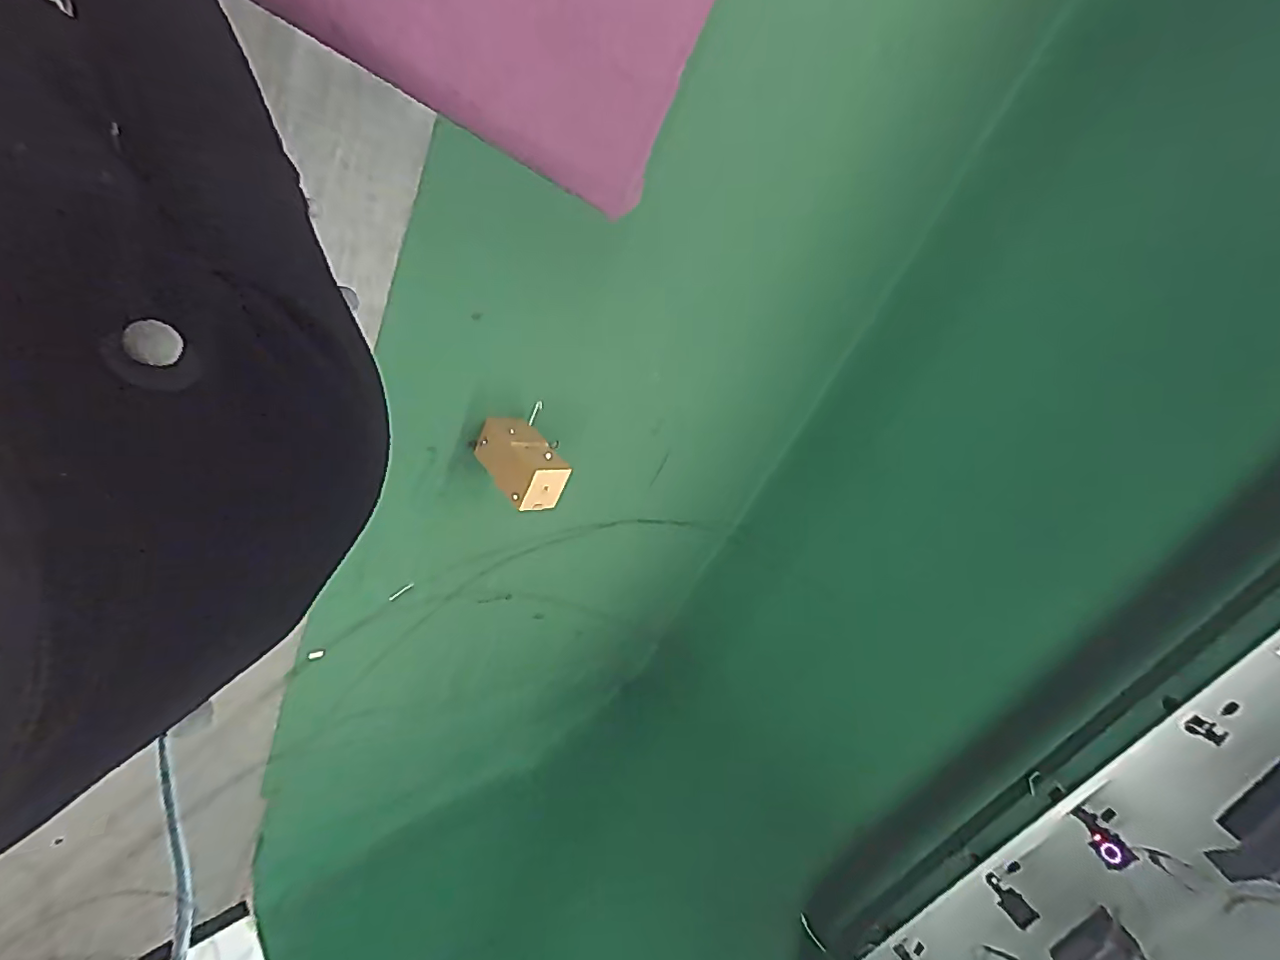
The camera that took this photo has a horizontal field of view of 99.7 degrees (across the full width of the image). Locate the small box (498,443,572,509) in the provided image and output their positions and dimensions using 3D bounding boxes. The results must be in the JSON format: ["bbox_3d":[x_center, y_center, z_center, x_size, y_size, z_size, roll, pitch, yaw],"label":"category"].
[{"bbox_3d":[-0.380,-0.019,1.934,0.168,0.176,0.179,-3,129,-50],"label":"small box"}]
